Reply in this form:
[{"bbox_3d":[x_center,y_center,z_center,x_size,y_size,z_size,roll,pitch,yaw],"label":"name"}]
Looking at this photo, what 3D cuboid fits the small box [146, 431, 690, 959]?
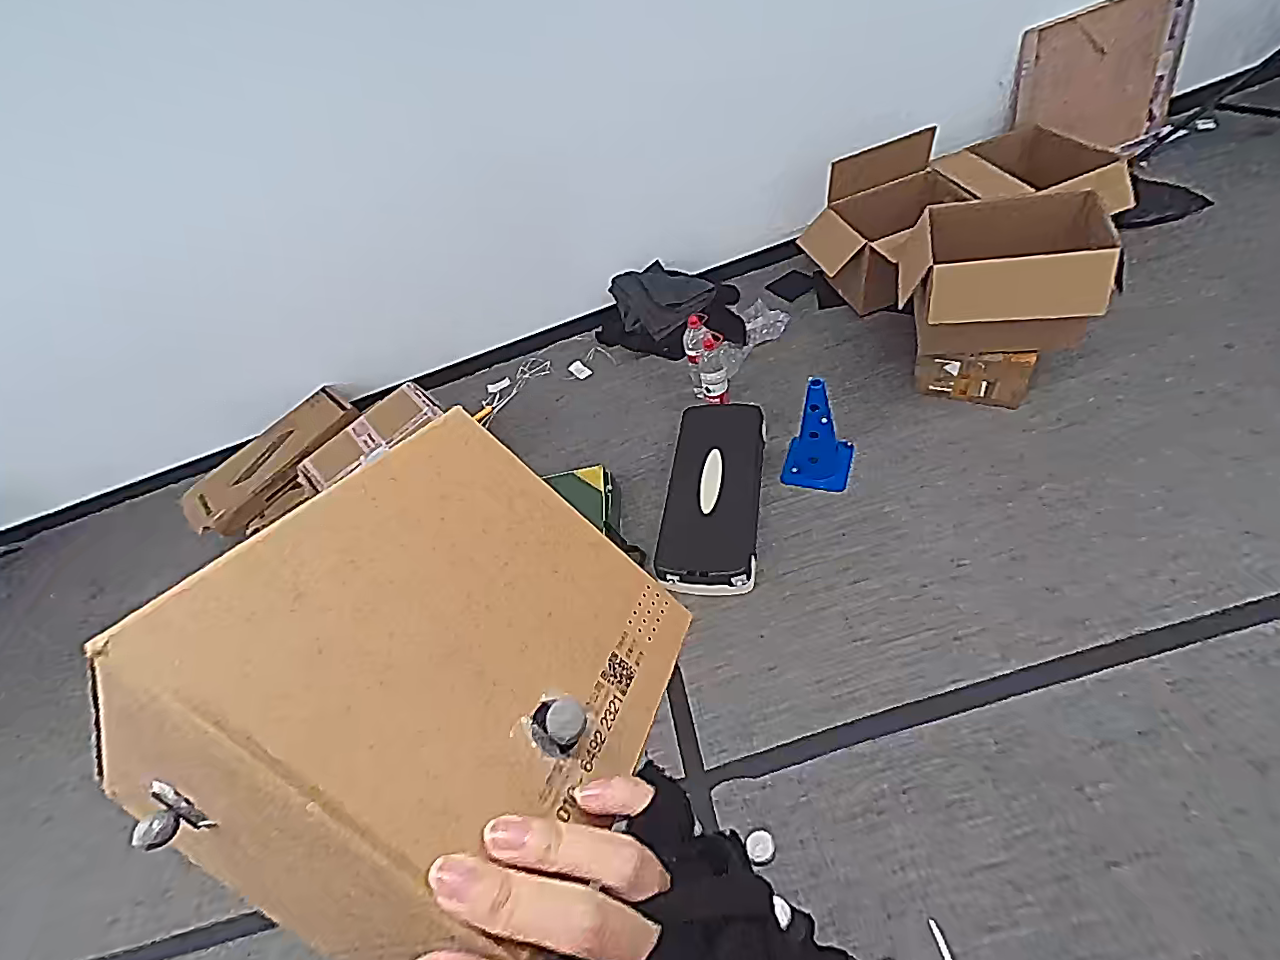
[{"bbox_3d":[-0.104,0.114,0.286,0.179,0.176,0.168,-43,8,36],"label":"small box"}]
